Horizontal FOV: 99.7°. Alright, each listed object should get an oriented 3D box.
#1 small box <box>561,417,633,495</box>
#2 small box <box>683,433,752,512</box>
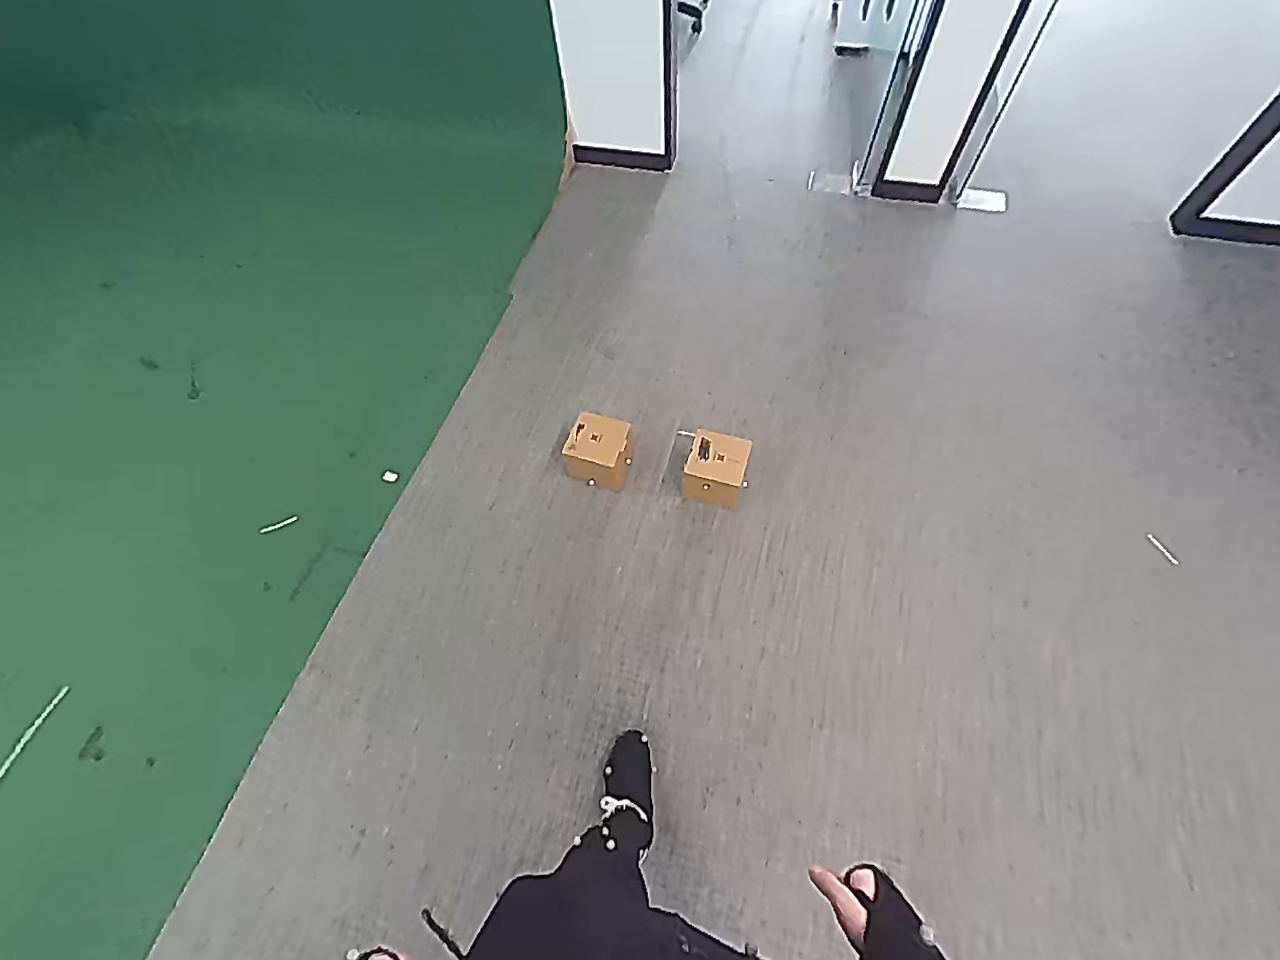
[{"bbox_3d":[-0.130,-0.071,1.738,0.179,0.176,0.168,16,63,11],"label":"small box"},{"bbox_3d":[0.236,-0.019,1.682,0.179,0.176,0.168,14,63,11],"label":"small box"}]
